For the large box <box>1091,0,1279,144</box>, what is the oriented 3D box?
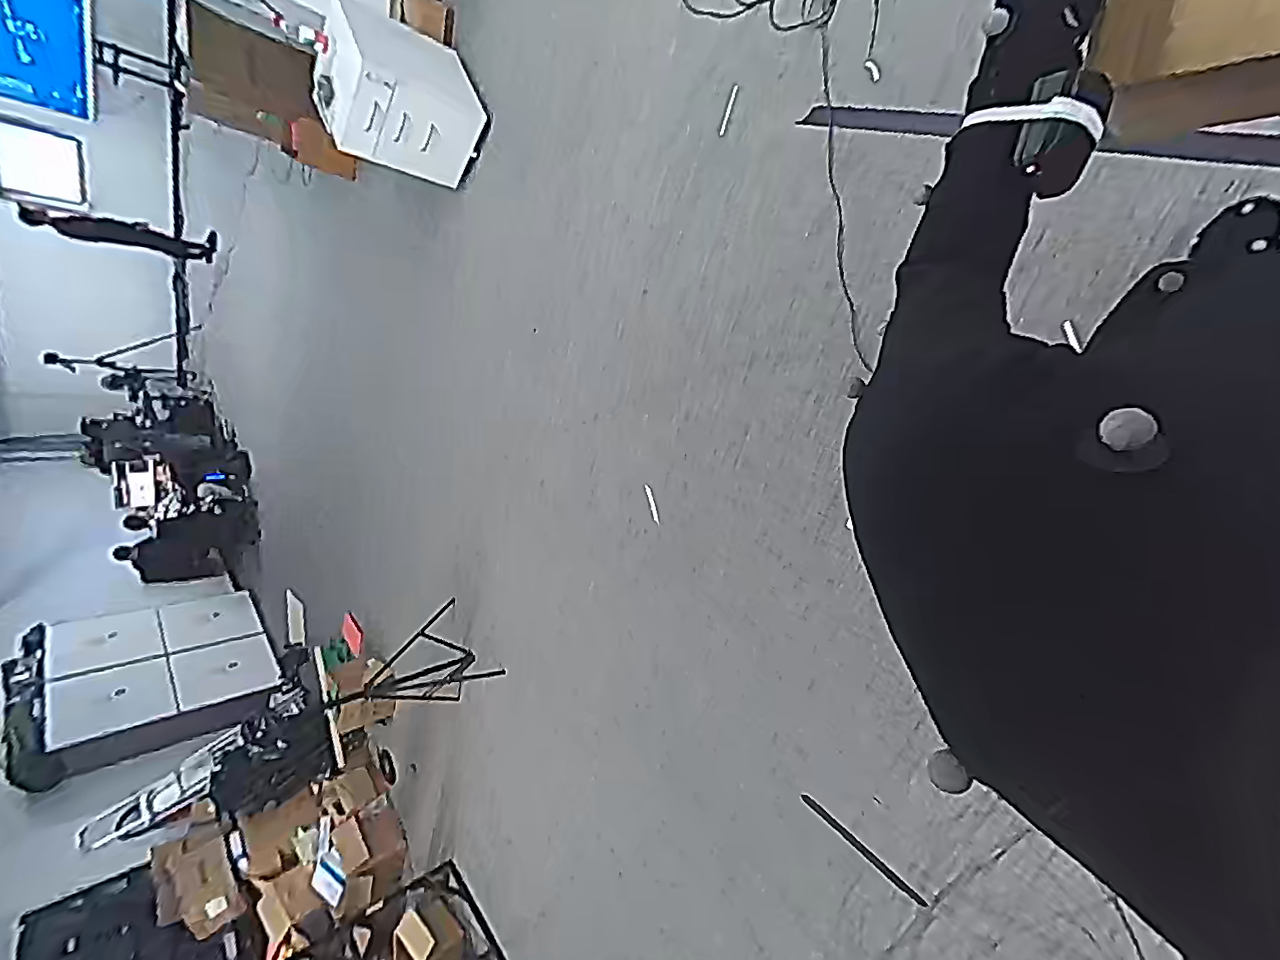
[{"bbox_3d":[0.577,-0.450,0.340,0.408,0.320,0.320,13,117,41],"label":"large box"}]
